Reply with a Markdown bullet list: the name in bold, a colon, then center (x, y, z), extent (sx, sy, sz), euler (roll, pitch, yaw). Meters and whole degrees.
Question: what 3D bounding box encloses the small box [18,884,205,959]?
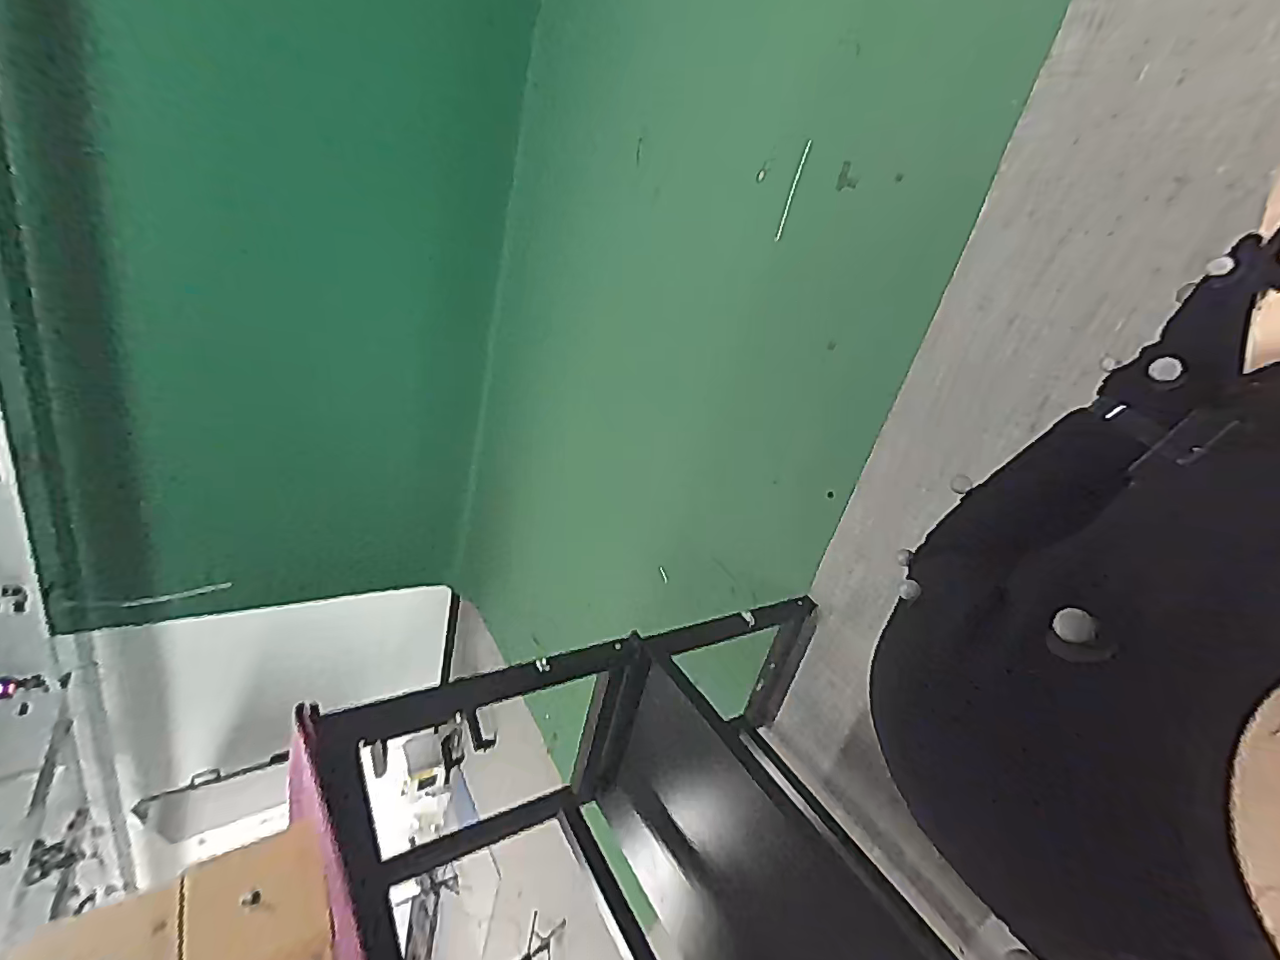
- **small box**: center (-0.672, 0.679, 0.697), extent (0.168, 0.176, 0.179), euler (40, 126, 43)
